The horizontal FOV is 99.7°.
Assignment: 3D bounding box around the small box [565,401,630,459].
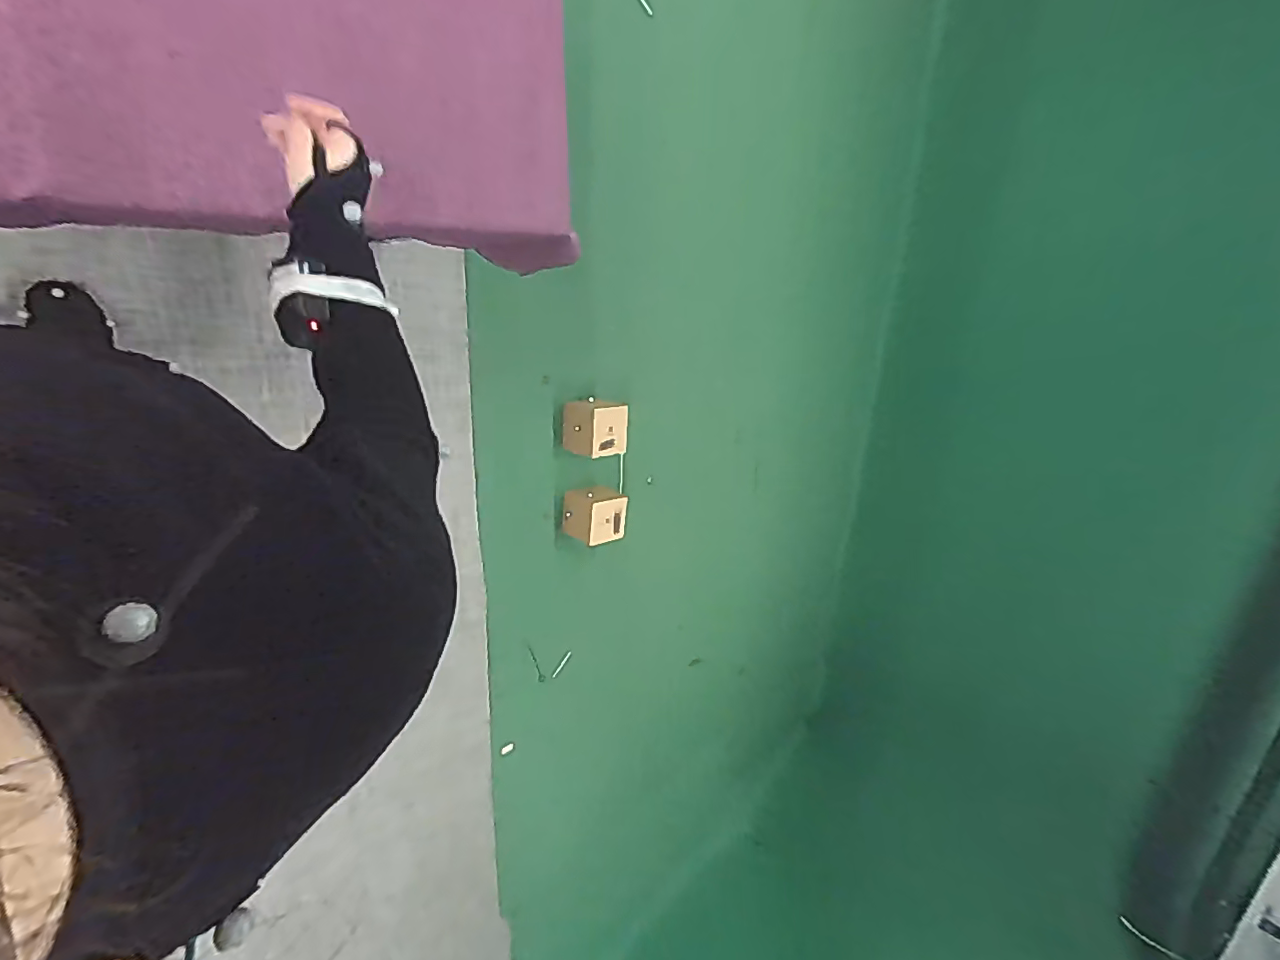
[{"bbox_3d":[-0.156,-0.184,1.944,0.168,0.176,0.179,-13,112,-44],"label":"small box"}]
